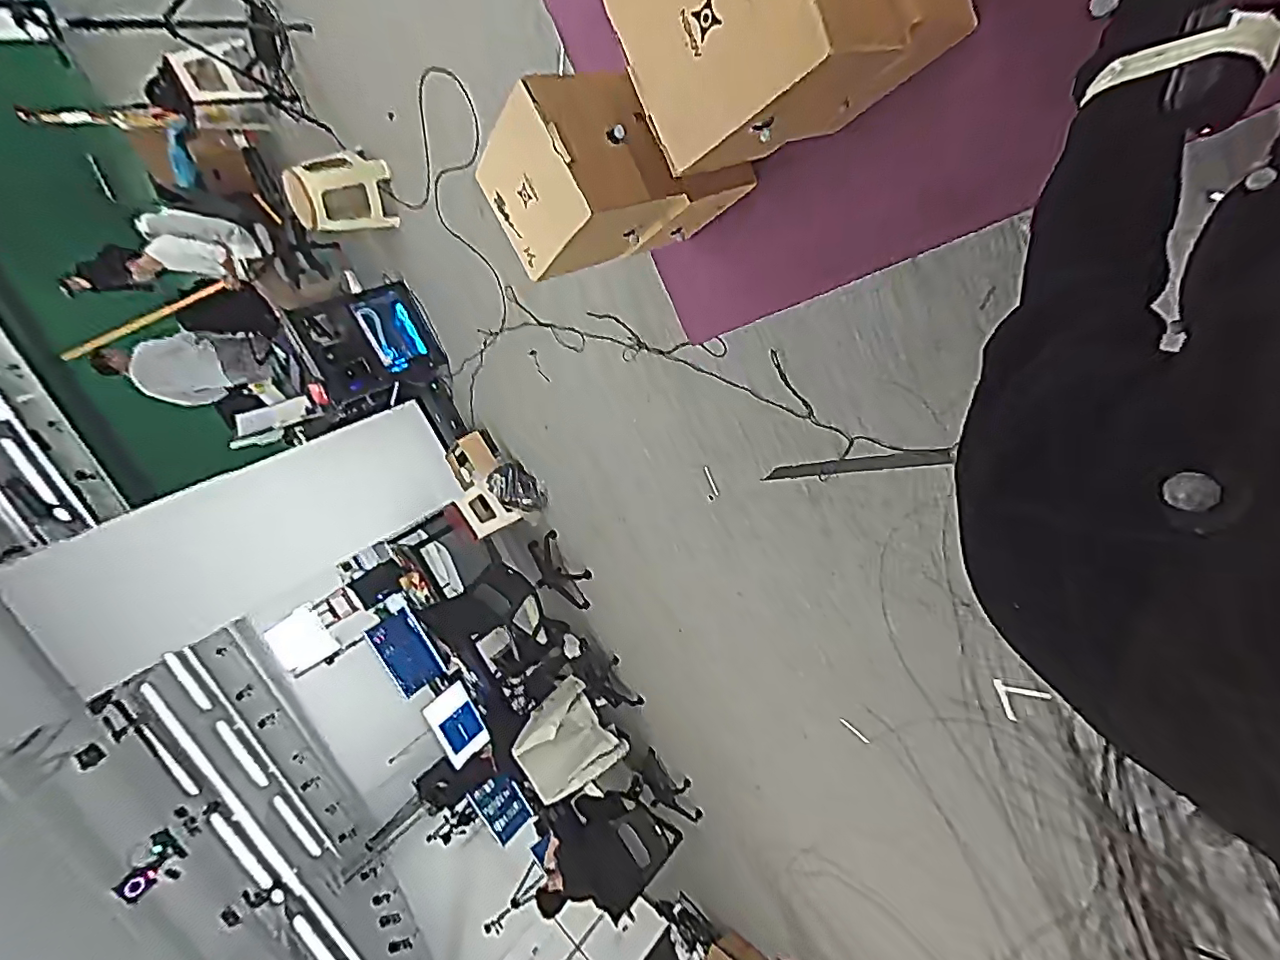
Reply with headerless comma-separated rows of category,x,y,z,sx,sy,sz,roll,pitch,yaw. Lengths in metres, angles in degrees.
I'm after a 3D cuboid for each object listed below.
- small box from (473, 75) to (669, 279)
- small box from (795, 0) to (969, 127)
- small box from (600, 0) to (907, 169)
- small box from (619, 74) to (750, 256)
small box,-0.084,-0.400,0.718,0.179,0.176,0.168,-17,104,54
small box,0.207,-0.501,0.570,0.179,0.176,0.168,-12,109,53
small box,0.102,-0.413,0.483,0.179,0.176,0.168,-8,113,52
small box,0.034,-0.471,0.807,0.168,0.176,0.179,-14,107,54
